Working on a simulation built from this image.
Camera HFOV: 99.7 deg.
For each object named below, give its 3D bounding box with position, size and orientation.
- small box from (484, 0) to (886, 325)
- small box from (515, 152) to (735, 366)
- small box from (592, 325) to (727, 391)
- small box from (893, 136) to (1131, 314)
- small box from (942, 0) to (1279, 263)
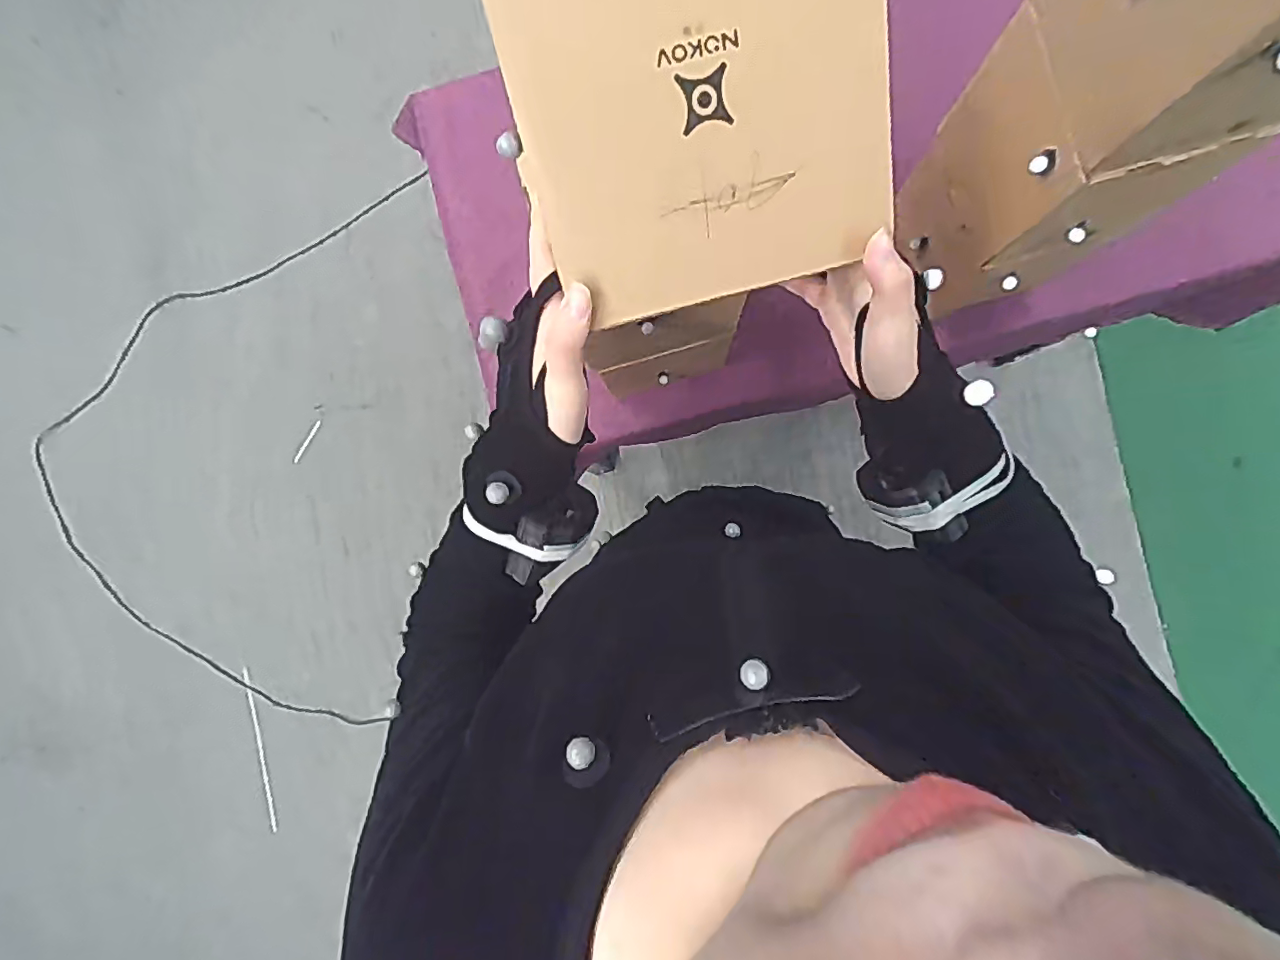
[{"bbox_3d":[0.017,-0.202,0.307,0.168,0.176,0.179,-14,115,1],"label":"small box"},{"bbox_3d":[-0.003,-0.230,0.550,0.179,0.176,0.168,-15,87,3],"label":"small box"},{"bbox_3d":[0.011,-0.225,0.714,0.168,0.176,0.179,-15,86,3],"label":"small box"},{"bbox_3d":[0.444,-0.331,0.684,0.179,0.176,0.168,-16,87,5],"label":"small box"},{"bbox_3d":[0.426,-0.343,0.522,0.168,0.176,0.179,-14,87,4],"label":"small box"}]
